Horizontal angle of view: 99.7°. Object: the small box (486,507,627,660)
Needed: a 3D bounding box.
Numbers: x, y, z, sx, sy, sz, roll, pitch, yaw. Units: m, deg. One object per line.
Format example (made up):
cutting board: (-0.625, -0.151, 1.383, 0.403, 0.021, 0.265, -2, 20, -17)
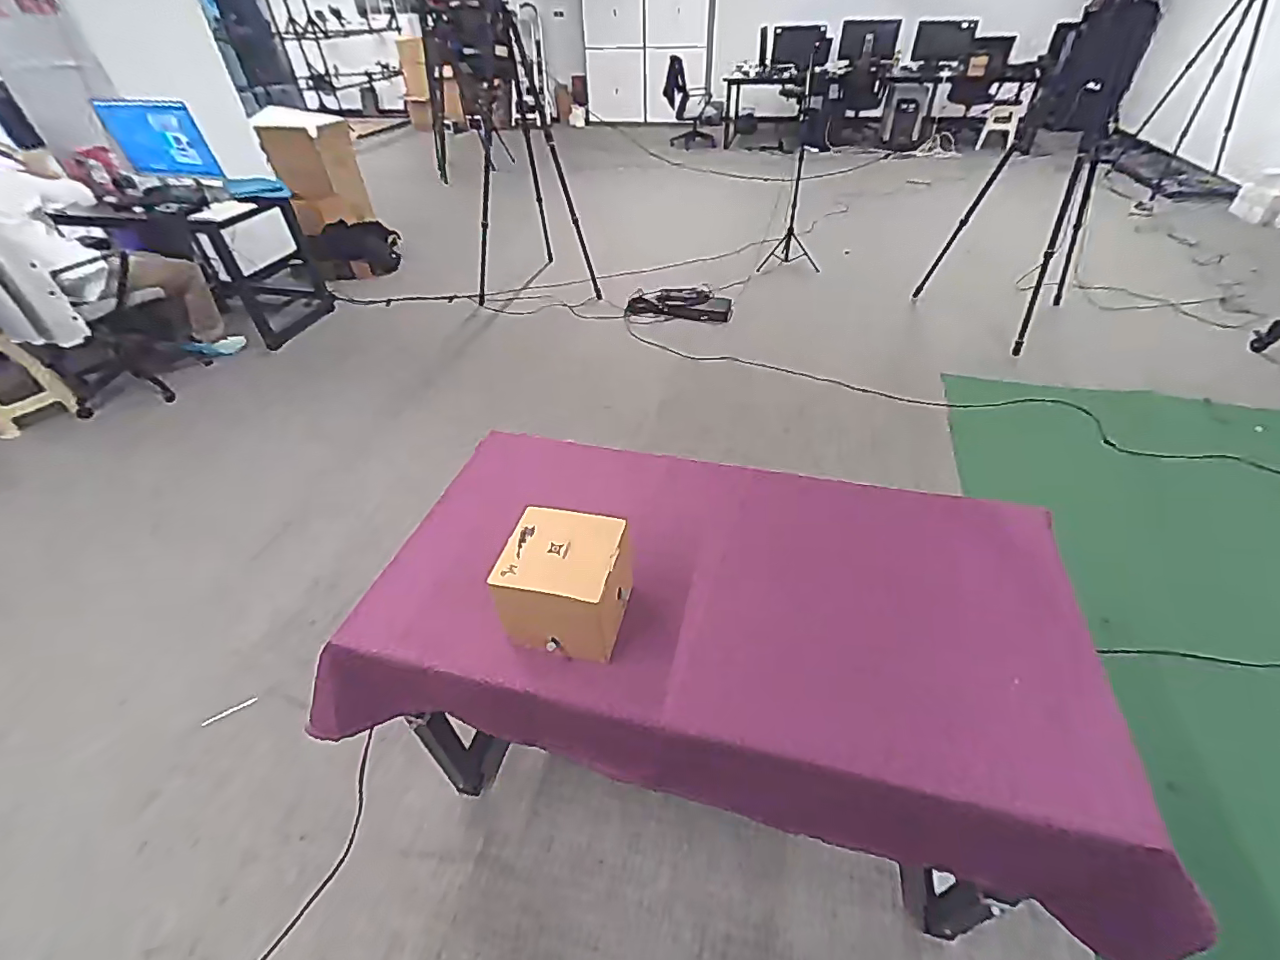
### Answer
small box: (-0.122, 0.171, 0.882, 0.179, 0.176, 0.168, 8, 43, 10)
